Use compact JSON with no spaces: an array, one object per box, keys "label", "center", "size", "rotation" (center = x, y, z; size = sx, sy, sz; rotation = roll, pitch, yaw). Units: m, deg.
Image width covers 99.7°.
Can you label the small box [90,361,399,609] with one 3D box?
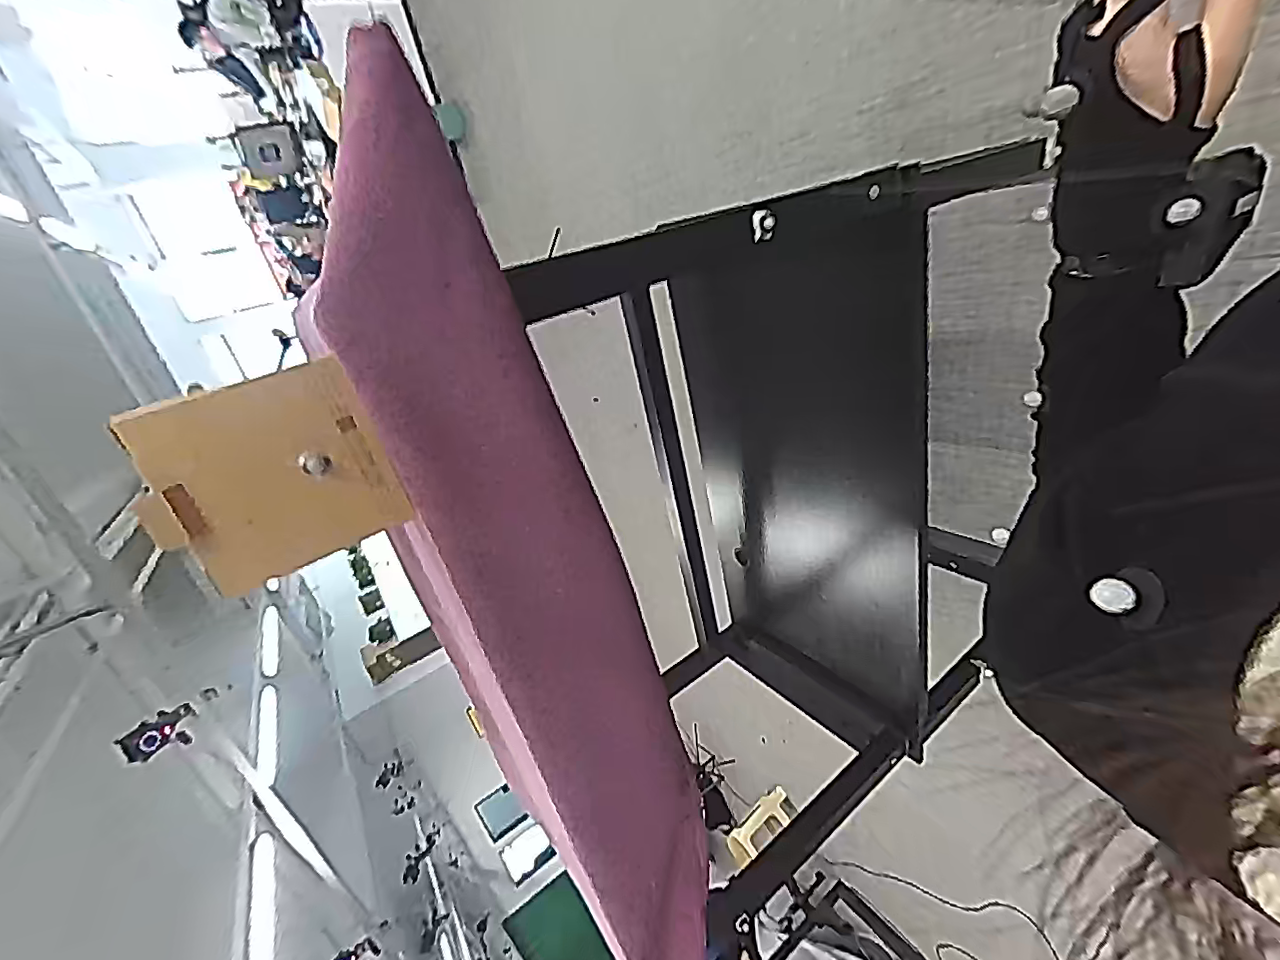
[{"label":"small box","center":[-0.355,-0.009,0.525],"size":[0.179,0.176,0.168],"rotation":[14,126,58]}]
